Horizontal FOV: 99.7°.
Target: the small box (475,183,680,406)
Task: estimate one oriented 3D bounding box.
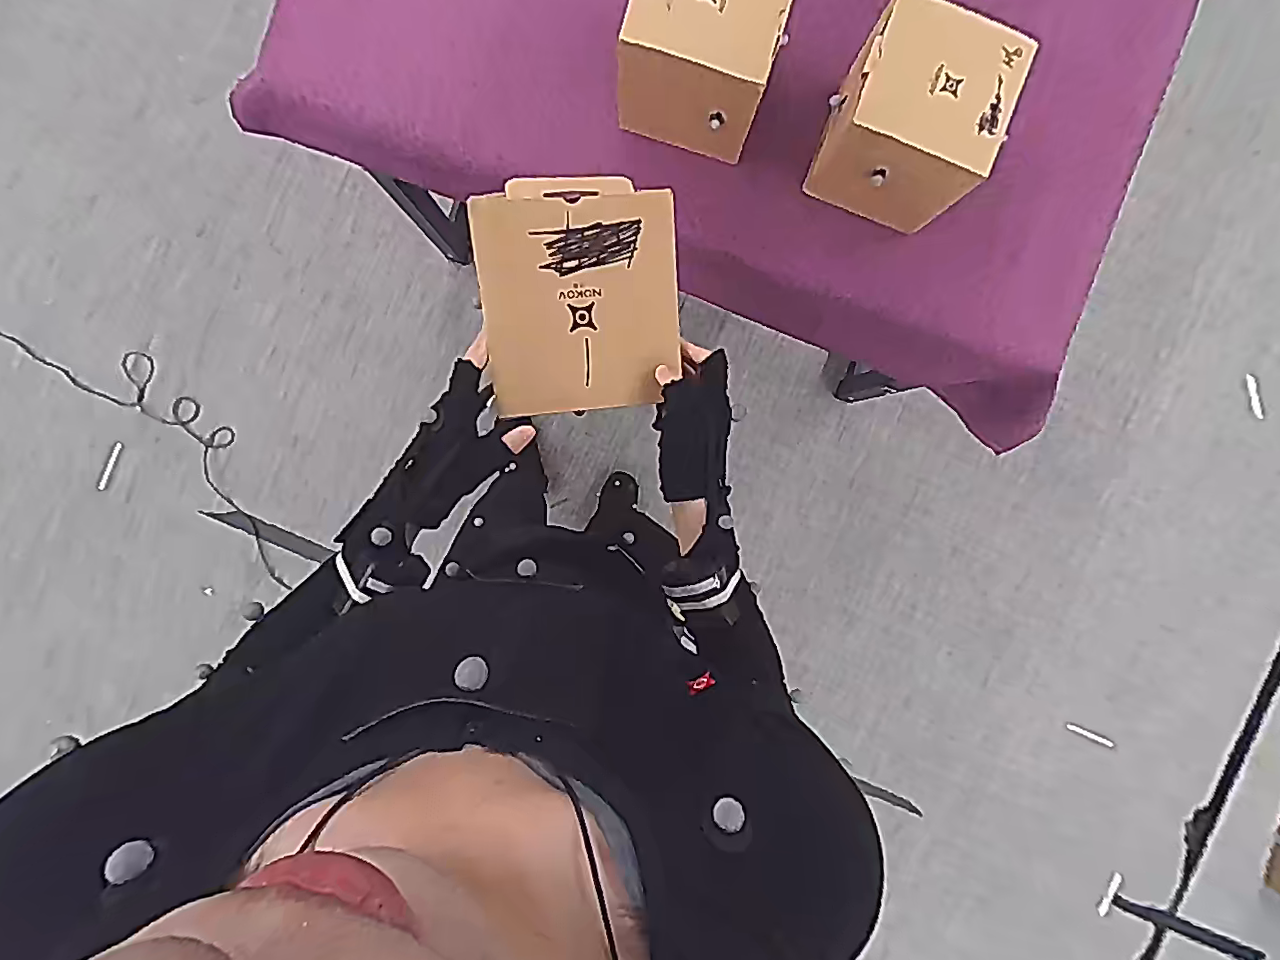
[{"bbox_3d":[-0.062,-0.169,0.528,0.168,0.176,0.179,-5,103,-9],"label":"small box"}]

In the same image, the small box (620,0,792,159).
[{"bbox_3d":[0.079,-0.547,0.687,0.179,0.176,0.168,15,90,-1],"label":"small box"}]

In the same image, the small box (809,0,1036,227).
[{"bbox_3d":[0.344,-0.458,0.697,0.179,0.176,0.168,20,92,-2],"label":"small box"}]
